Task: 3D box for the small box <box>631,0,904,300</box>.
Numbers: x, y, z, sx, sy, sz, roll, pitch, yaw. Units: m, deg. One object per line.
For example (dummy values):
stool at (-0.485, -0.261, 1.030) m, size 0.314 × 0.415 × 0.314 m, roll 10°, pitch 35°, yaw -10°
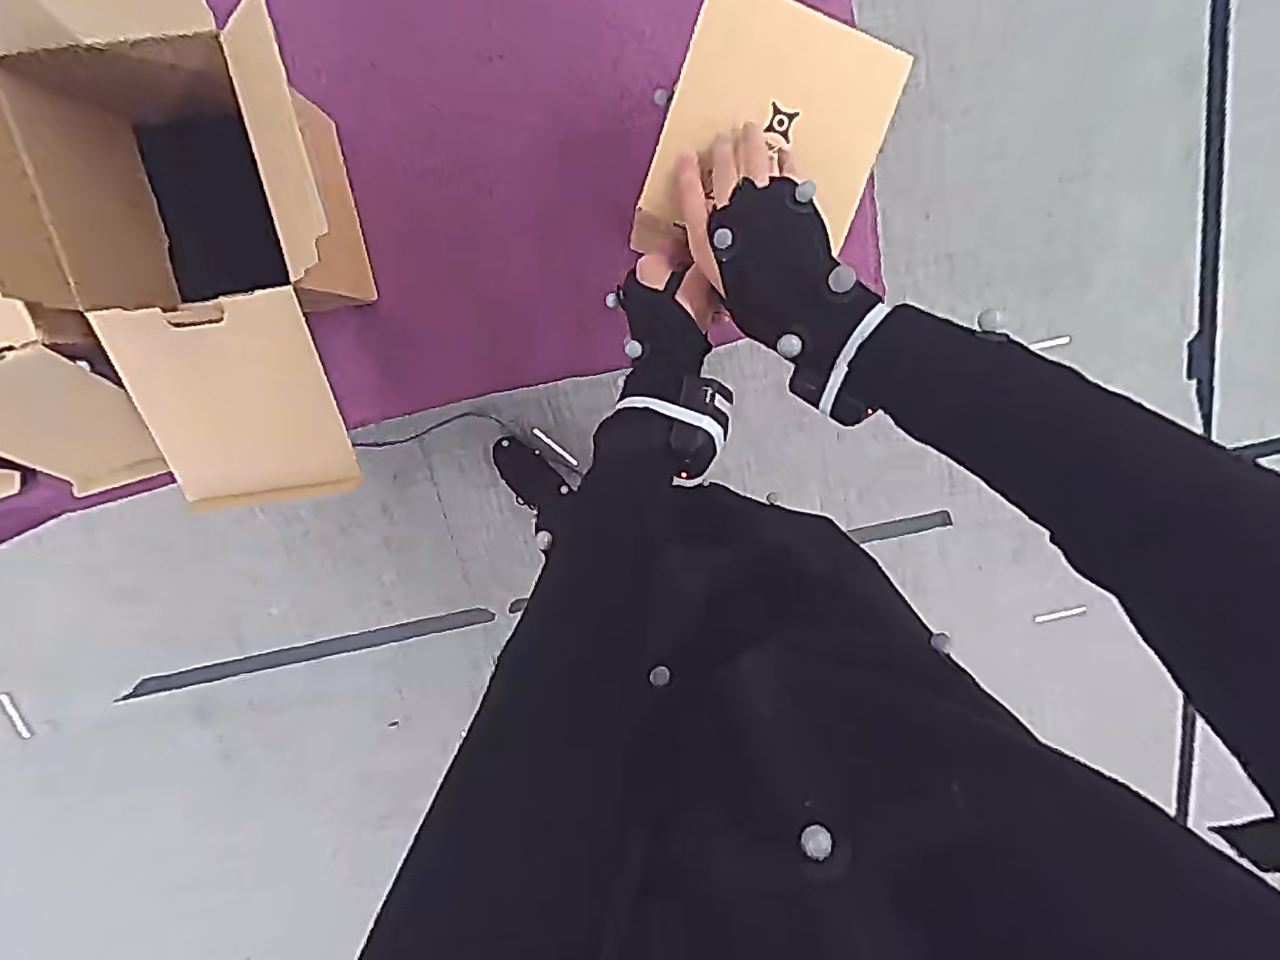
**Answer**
small box at (0.094, -0.283, 0.495) m, size 0.168 × 0.176 × 0.179 m, roll 19°, pitch 102°, yaw -7°
